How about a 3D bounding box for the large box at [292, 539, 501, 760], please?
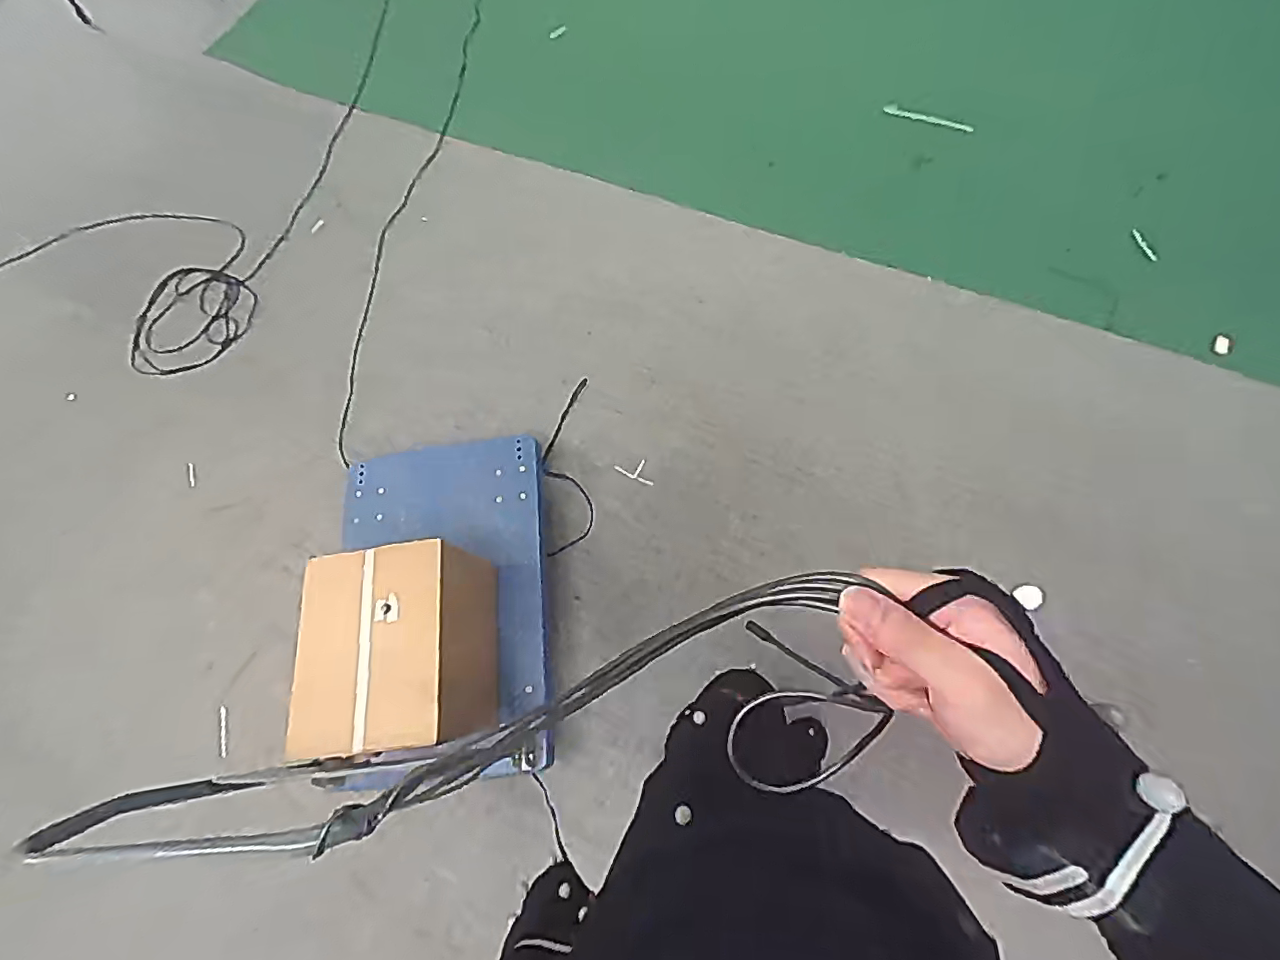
[{"bbox_3d":[-0.524,0.385,1.233,0.320,0.320,0.408,-9,68,5],"label":"large box"}]
